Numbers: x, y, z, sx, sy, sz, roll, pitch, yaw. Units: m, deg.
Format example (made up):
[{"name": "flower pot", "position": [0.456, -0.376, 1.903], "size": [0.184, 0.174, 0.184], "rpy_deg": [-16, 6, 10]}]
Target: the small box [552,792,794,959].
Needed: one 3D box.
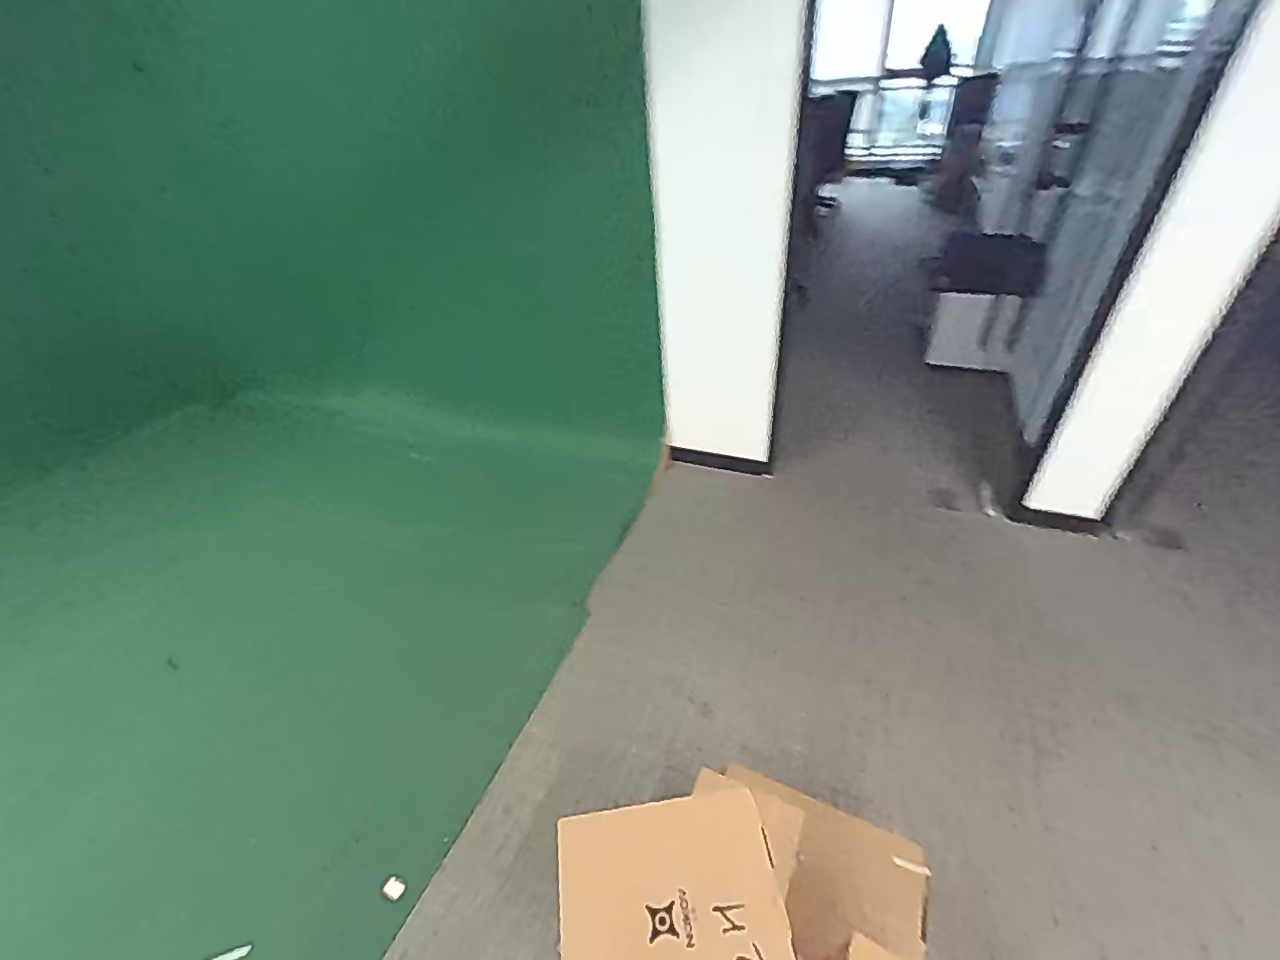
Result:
[{"name": "small box", "position": [0.026, 0.394, 0.463], "size": [0.179, 0.176, 0.168], "rpy_deg": [-7, 45, -4]}]

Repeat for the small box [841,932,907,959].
[{"name": "small box", "position": [0.313, 0.703, 0.647], "size": [0.179, 0.176, 0.168], "rpy_deg": [18, 43, 26]}]

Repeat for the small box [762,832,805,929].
[{"name": "small box", "position": [0.166, 0.714, 0.920], "size": [0.168, 0.176, 0.179], "rpy_deg": [16, 41, 26]}]
